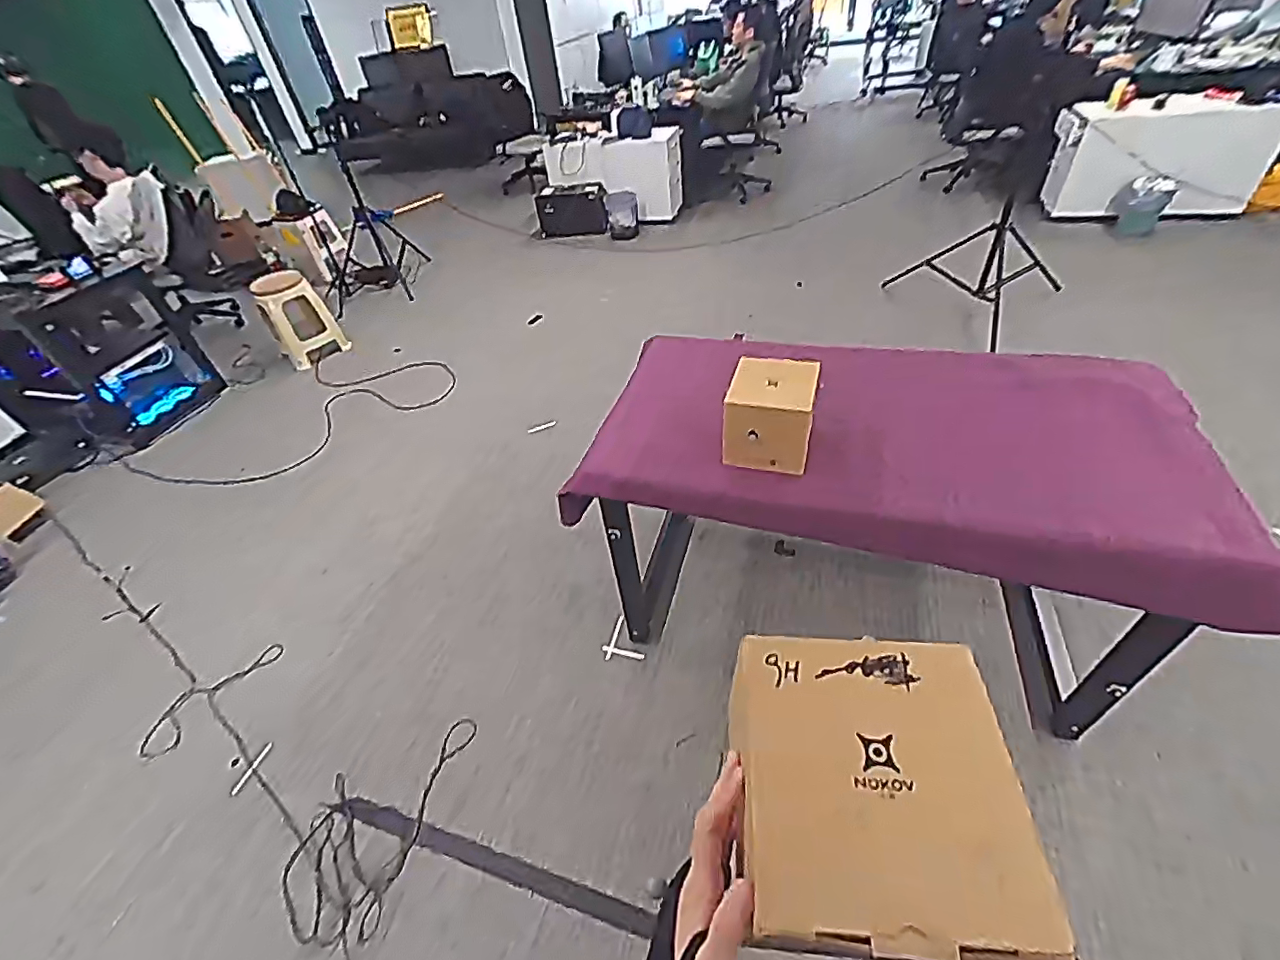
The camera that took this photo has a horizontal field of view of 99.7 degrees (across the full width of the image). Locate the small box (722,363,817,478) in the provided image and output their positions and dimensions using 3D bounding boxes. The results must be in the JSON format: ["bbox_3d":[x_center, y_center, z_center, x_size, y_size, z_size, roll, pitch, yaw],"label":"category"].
[{"bbox_3d":[0.273,-0.125,1.142,0.168,0.176,0.179,9,44,17],"label":"small box"}]

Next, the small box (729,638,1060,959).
[{"bbox_3d":[0.156,0.241,0.409,0.168,0.176,0.179,1,48,5],"label":"small box"}]
